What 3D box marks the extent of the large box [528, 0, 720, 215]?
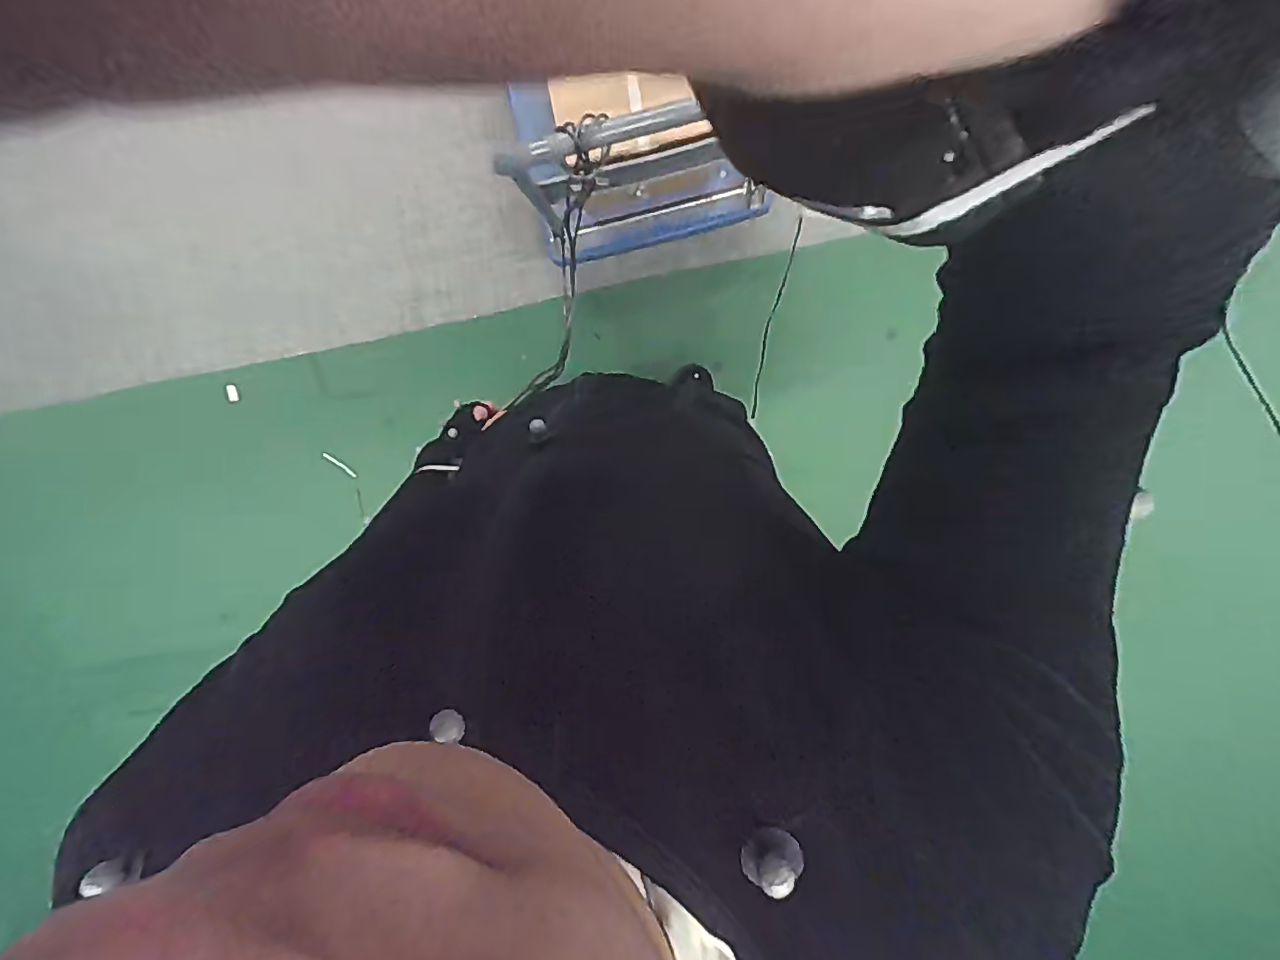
[{"bbox_3d":[-0.030,-0.852,1.158,0.320,0.320,0.408,-11,100,3],"label":"large box"}]
